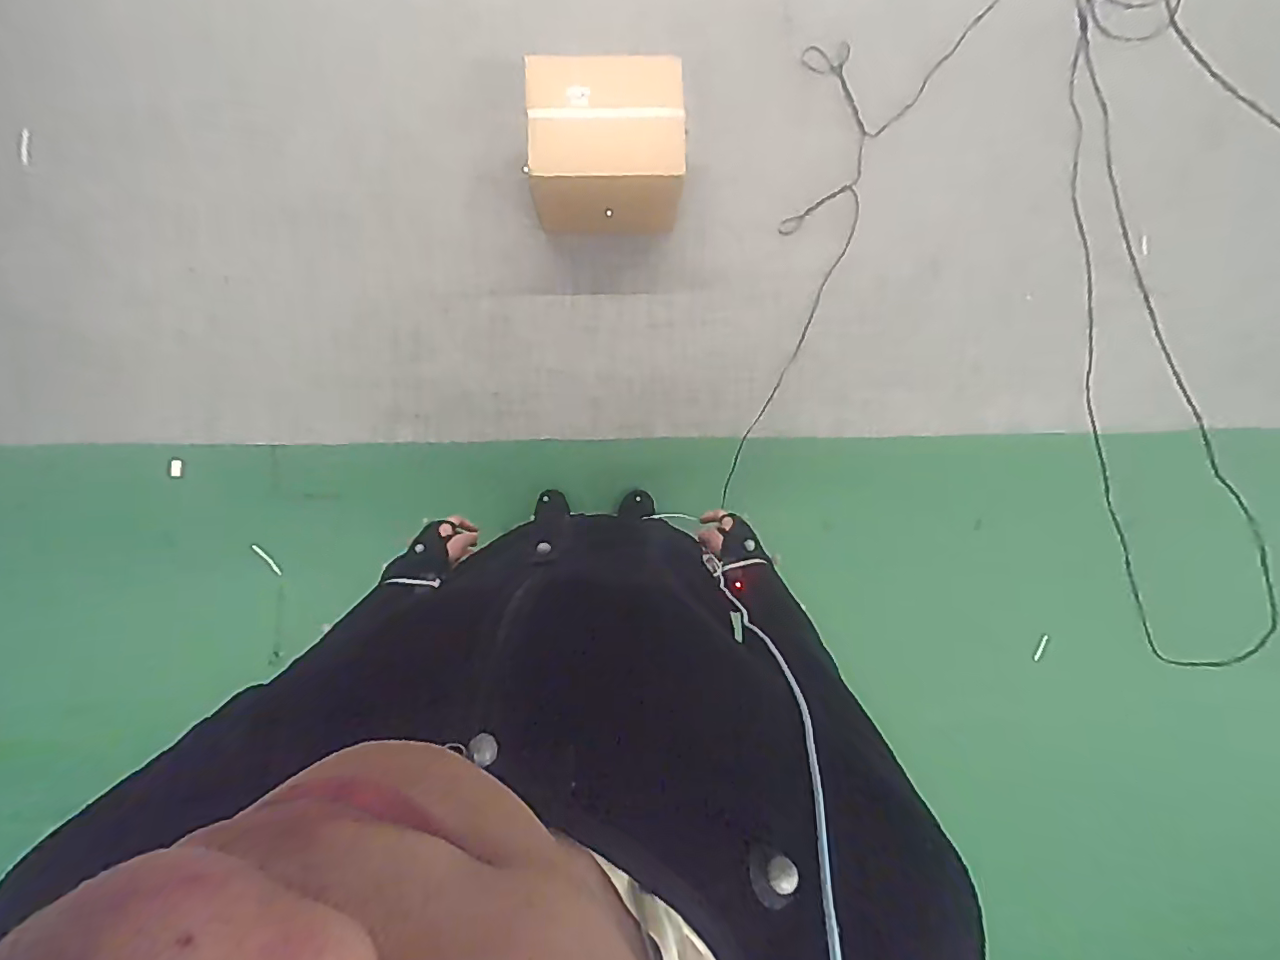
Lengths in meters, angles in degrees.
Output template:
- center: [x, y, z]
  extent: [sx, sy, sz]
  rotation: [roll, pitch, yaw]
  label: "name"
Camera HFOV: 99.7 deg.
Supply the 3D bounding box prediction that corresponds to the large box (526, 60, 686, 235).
- center: [-0.091, -0.923, 1.539]
  extent: [0.408, 0.320, 0.320]
  rotation: [-2, 88, -2]
  label: "large box"
